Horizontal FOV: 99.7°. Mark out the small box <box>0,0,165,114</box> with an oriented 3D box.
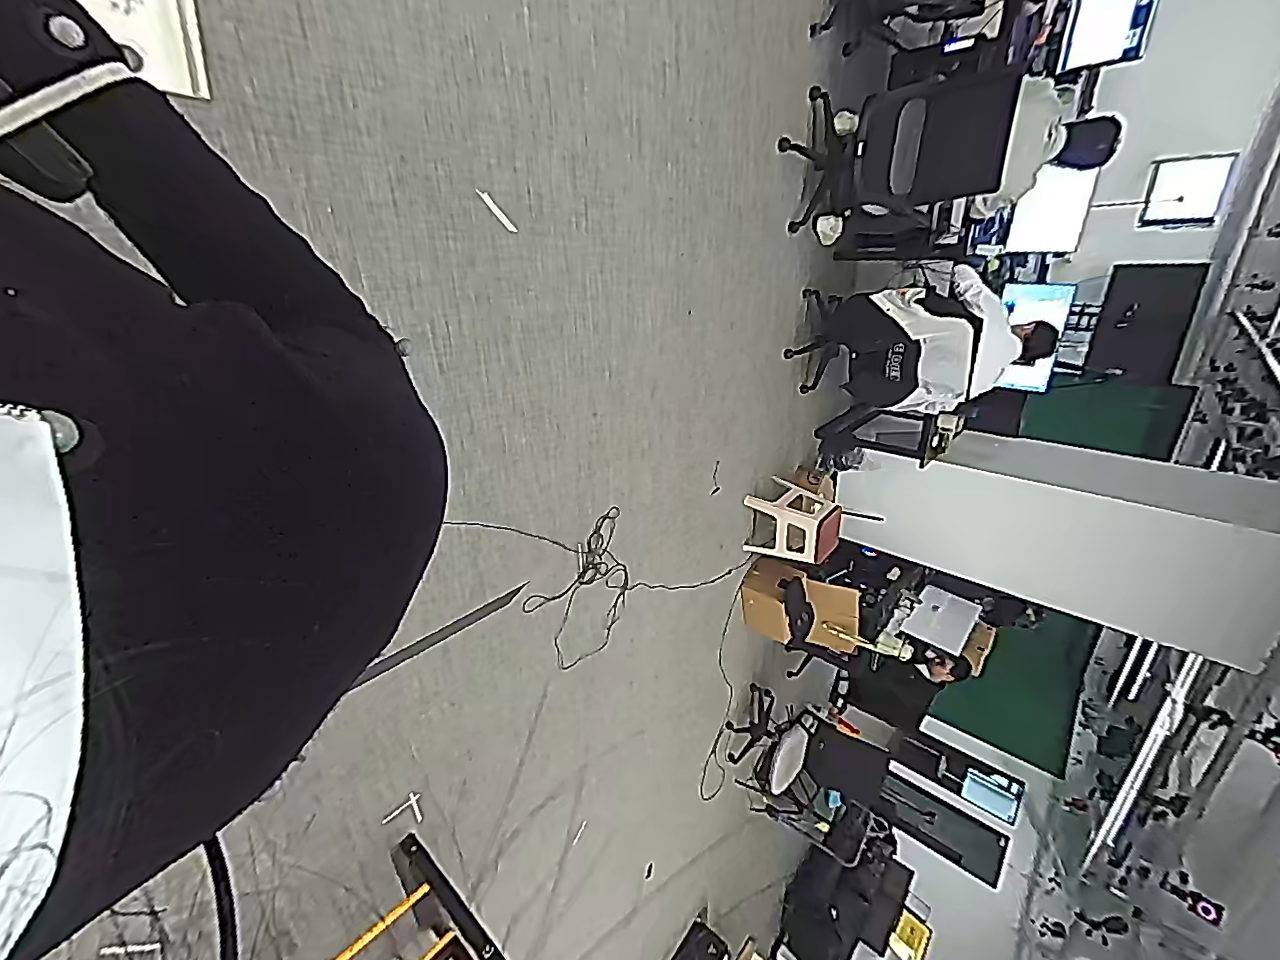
[{"bbox_3d":[-0.549,-0.443,0.461,0.168,0.176,0.179,-19,121,-48],"label":"small box"}]
